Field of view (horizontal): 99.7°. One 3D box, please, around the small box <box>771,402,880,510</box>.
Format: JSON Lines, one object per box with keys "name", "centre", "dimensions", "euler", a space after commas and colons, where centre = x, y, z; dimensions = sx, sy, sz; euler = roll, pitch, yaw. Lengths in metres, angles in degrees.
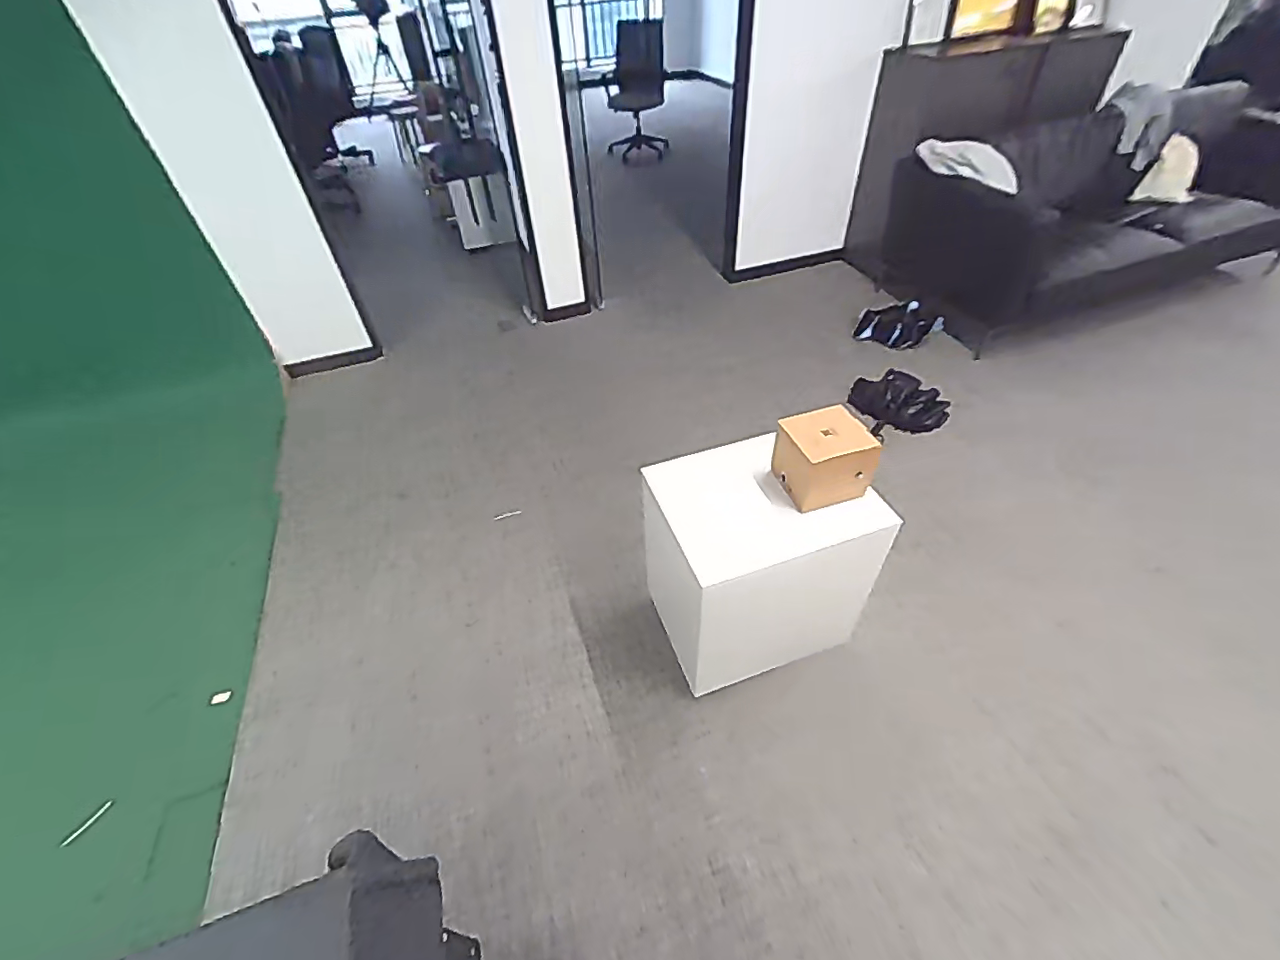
{"name": "small box", "centre": [0.431, -0.056, 1.287], "dimensions": [0.179, 0.176, 0.168], "euler": [-16, 45, -10]}
